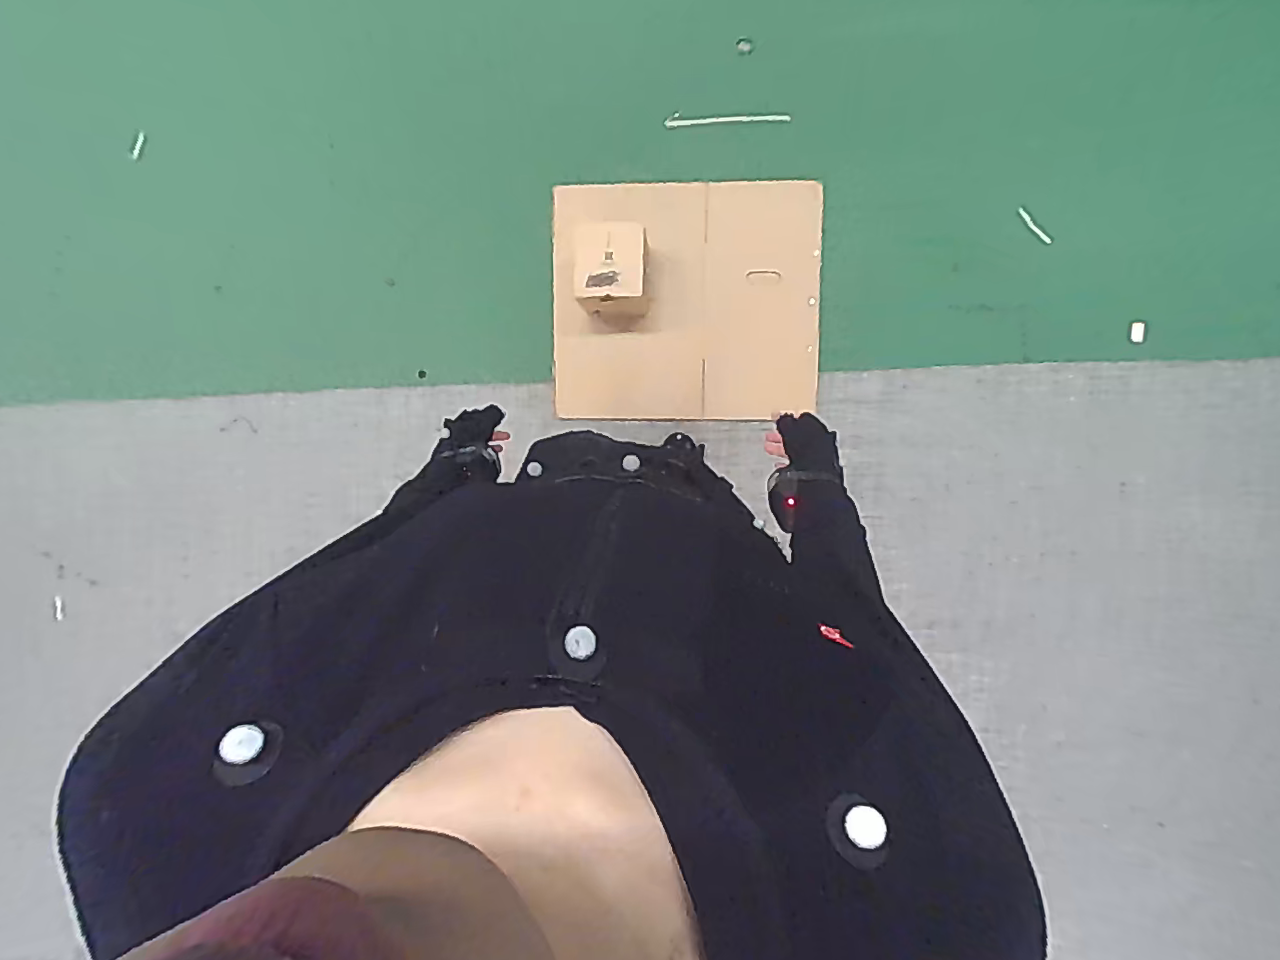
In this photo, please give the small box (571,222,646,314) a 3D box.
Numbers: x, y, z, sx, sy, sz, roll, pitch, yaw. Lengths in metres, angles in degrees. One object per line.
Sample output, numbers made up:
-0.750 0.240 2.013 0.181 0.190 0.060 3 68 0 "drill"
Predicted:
-0.072 -0.516 1.337 0.168 0.176 0.179 2 93 4 "small box"
